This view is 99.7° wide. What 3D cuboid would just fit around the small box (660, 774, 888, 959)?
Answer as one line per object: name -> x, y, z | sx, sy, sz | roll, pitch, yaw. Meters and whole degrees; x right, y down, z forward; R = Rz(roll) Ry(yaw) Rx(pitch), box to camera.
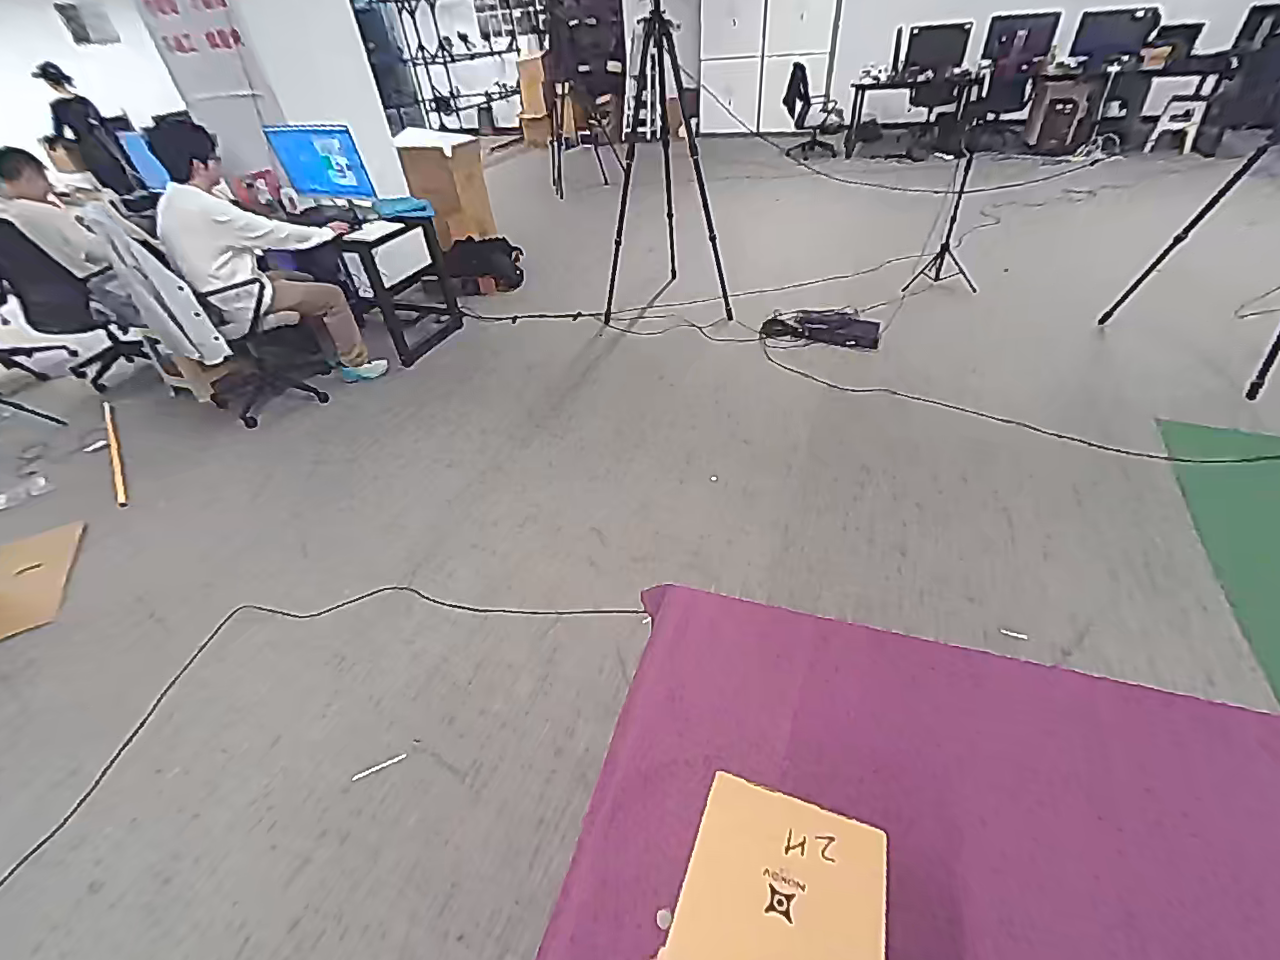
small box -> 0.123, 0.427, 0.502 | 0.168, 0.176, 0.179 | 12, 33, 19
